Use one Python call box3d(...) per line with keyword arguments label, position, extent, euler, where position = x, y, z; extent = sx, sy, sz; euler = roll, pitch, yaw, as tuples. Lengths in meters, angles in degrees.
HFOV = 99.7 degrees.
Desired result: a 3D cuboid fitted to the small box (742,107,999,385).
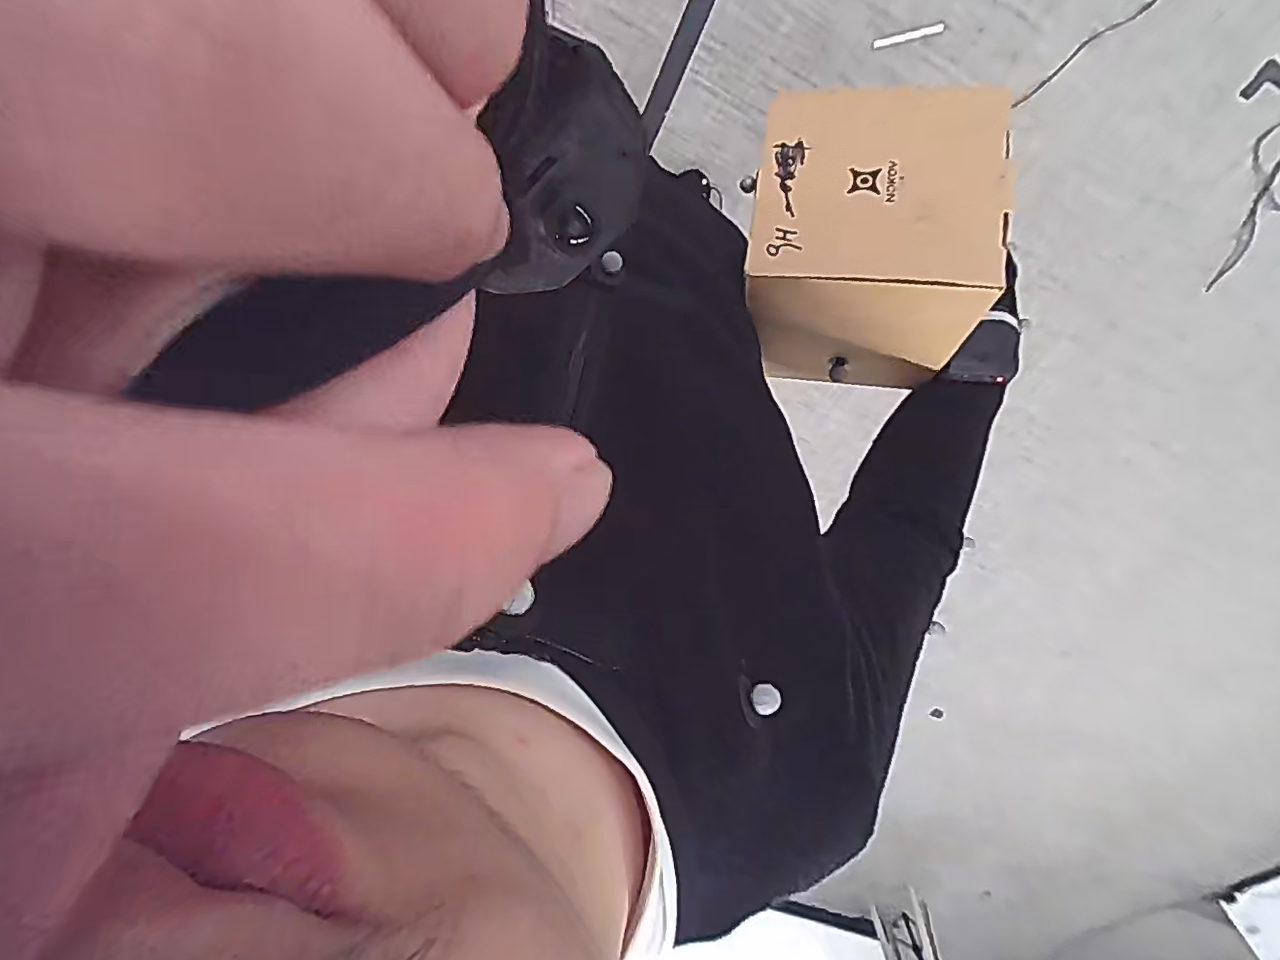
box3d(label="small box", position=(0.193, -0.199, 0.494), extent=(0.179, 0.168, 0.176), euler=(7, 166, 12))
